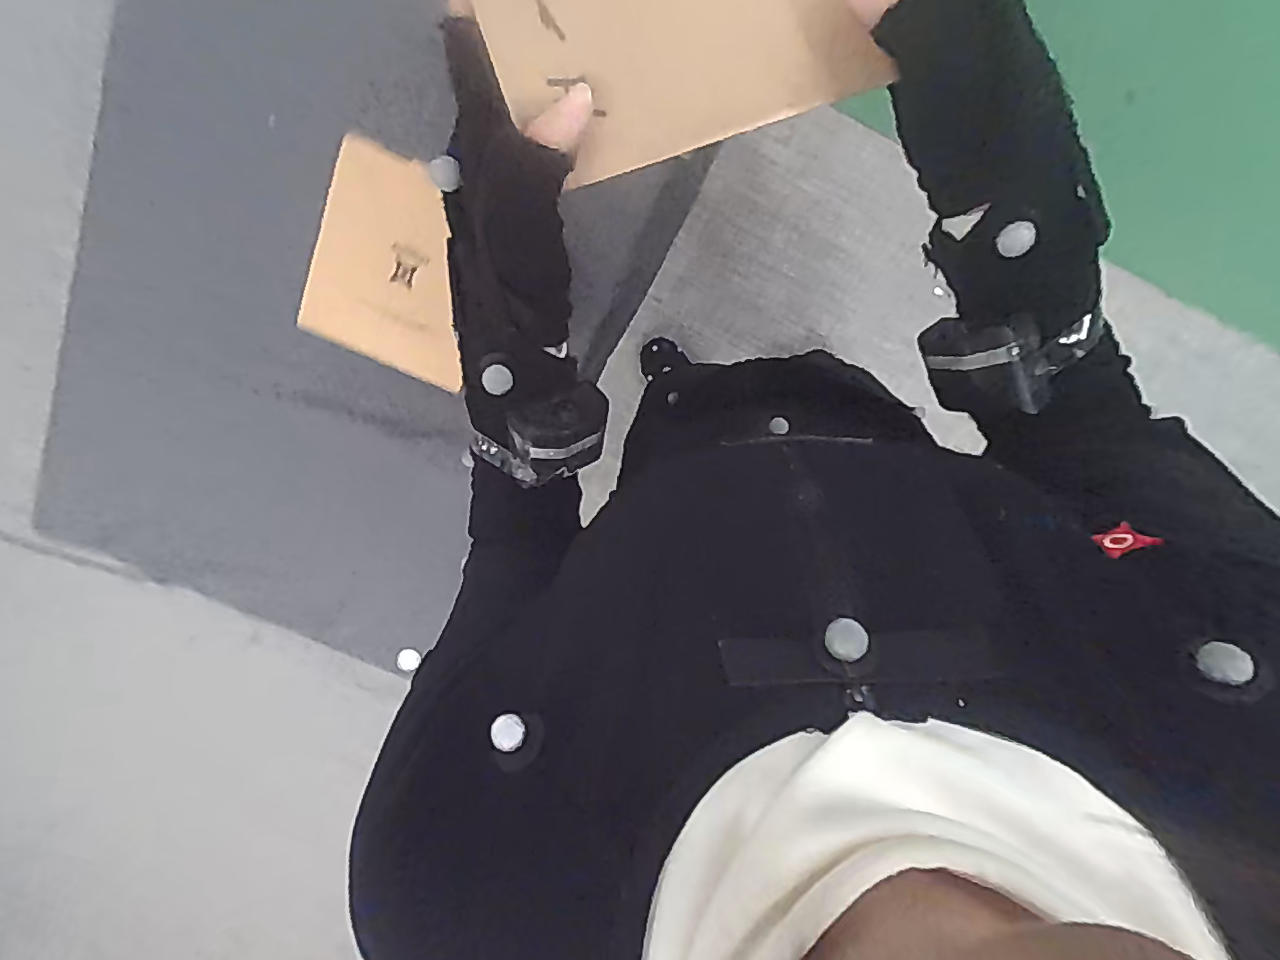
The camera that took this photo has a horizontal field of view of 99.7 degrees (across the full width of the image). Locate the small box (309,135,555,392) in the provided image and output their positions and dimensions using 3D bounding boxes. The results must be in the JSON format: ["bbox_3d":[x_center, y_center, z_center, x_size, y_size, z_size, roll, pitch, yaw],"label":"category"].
[{"bbox_3d":[-0.202,-0.213,0.570,0.168,0.176,0.179,23,106,-2],"label":"small box"}]

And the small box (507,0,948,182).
[{"bbox_3d":[0.021,-0.263,0.258,0.179,0.176,0.168,-14,124,4],"label":"small box"}]
